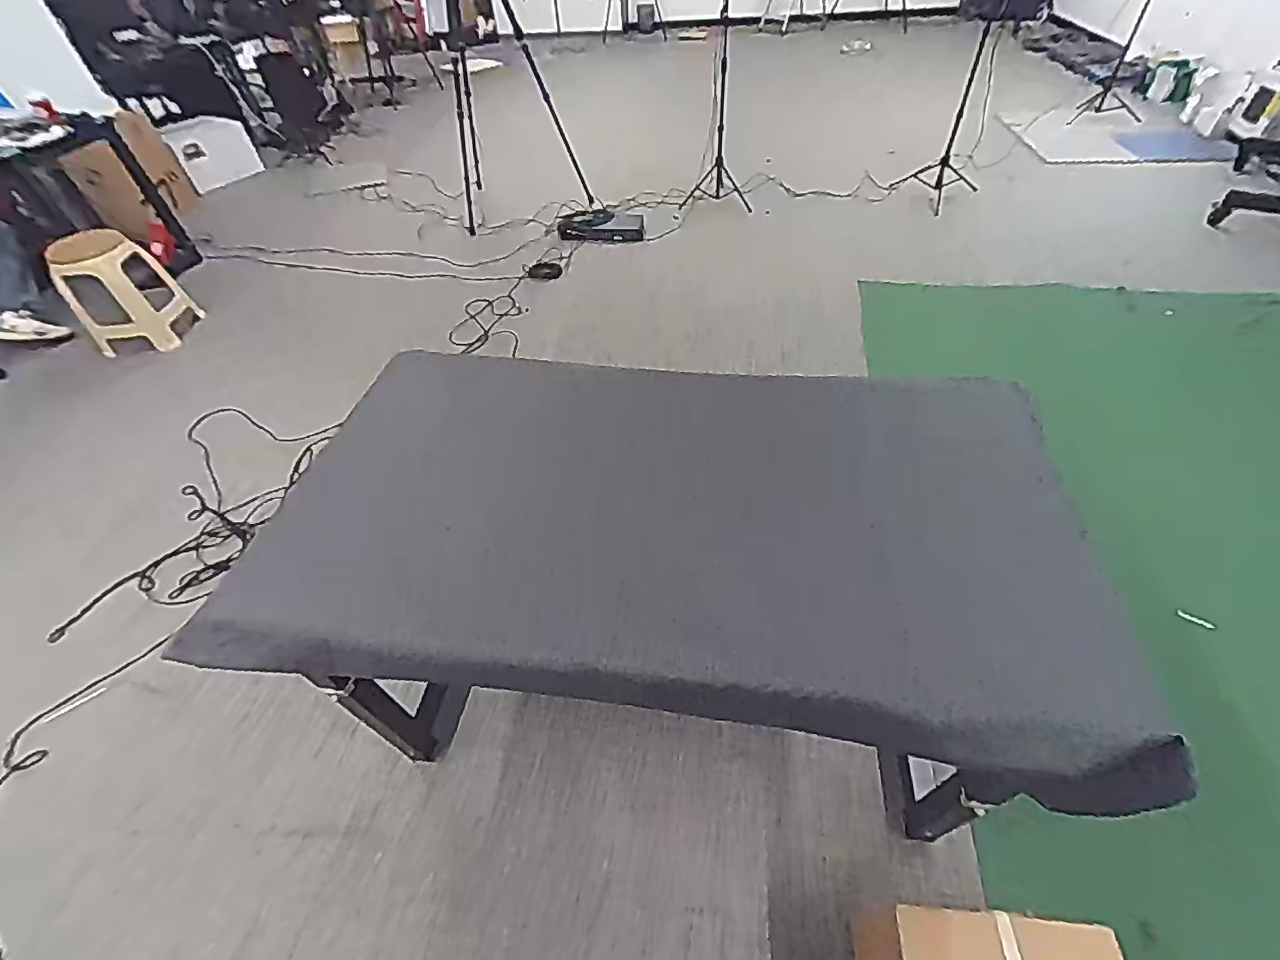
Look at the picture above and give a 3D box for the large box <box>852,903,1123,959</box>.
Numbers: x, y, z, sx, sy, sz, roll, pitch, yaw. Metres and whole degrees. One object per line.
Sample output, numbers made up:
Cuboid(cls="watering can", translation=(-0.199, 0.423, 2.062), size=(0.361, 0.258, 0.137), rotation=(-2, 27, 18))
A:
Cuboid(cls="large box", translation=(0.536, 0.897, 0.796), size=(0.320, 0.320, 0.408), rotation=(1, 48, 7))
